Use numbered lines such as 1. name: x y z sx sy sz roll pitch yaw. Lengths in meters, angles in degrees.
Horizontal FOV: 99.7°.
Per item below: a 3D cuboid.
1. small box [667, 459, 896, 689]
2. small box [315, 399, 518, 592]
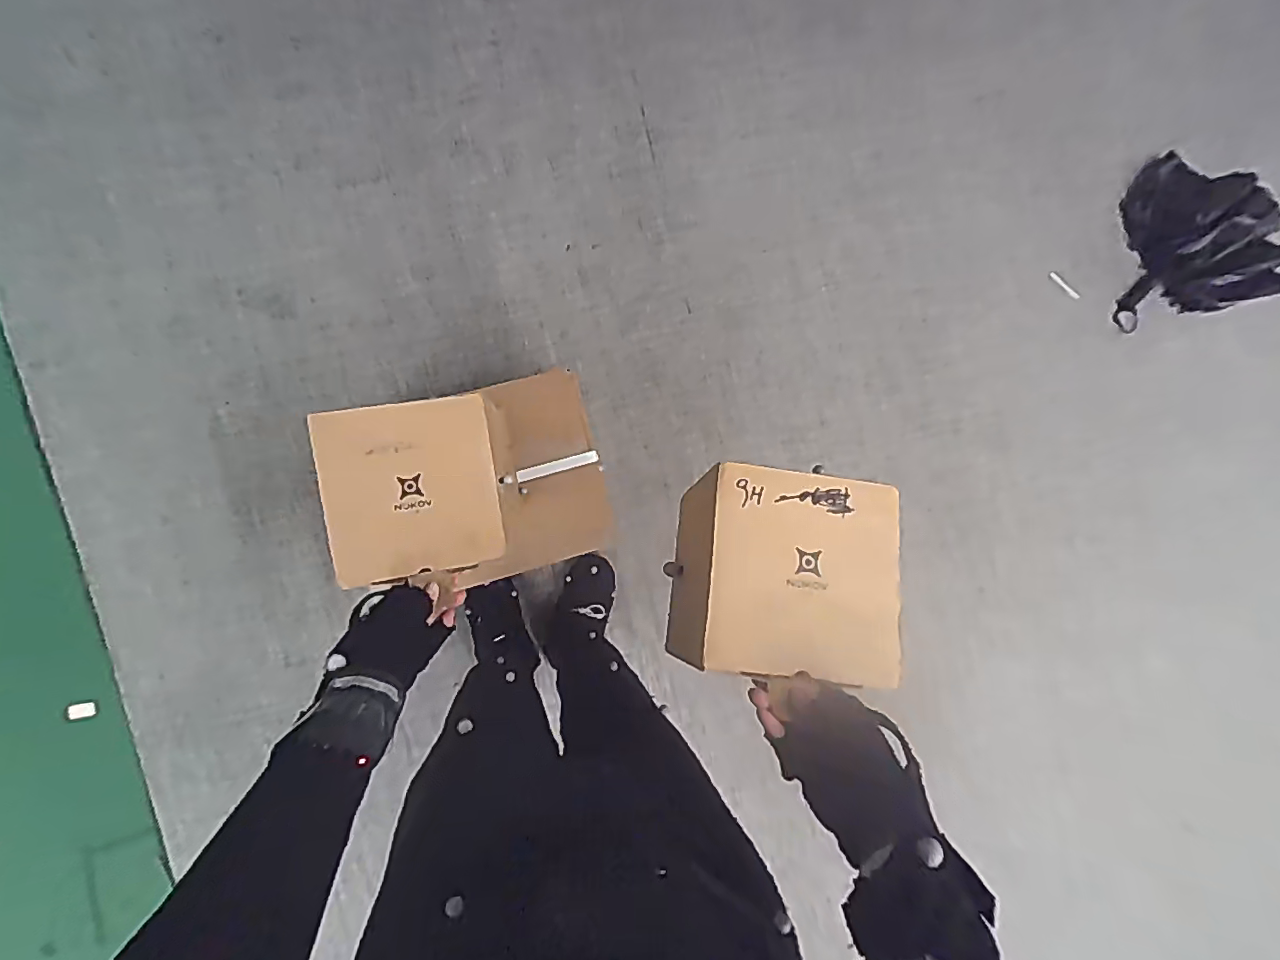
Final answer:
1. small box: 0.126 0.093 0.536 0.168 0.176 0.179 9 78 -7
2. small box: -0.237 0.011 0.619 0.168 0.176 0.179 -9 93 -10
